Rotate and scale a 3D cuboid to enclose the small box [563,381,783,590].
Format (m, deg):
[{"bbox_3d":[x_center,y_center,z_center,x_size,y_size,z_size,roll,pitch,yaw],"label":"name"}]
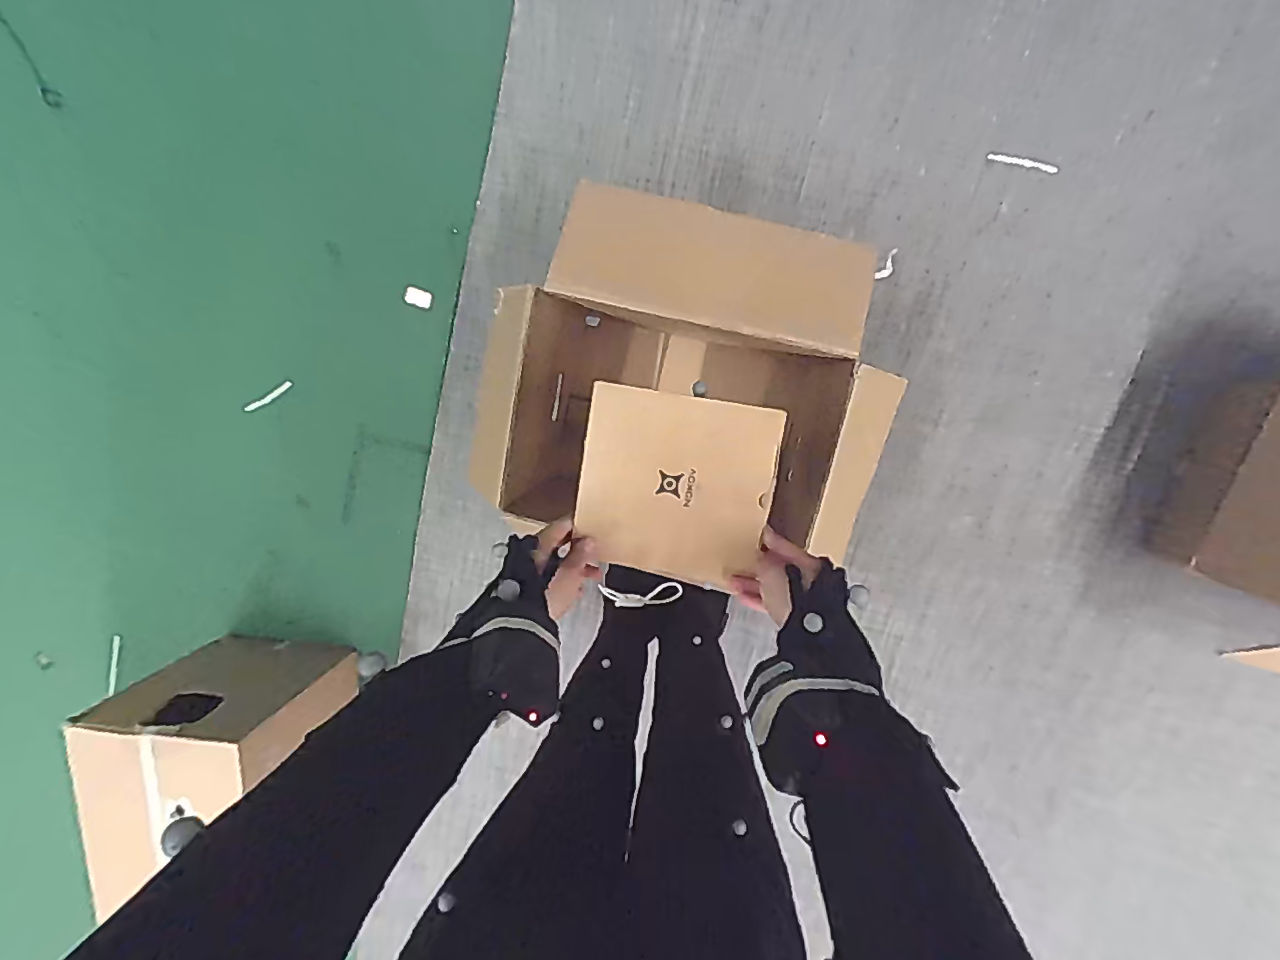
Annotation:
[{"bbox_3d":[0.033,0.000,0.566,0.179,0.176,0.168,10,95,3],"label":"small box"}]
